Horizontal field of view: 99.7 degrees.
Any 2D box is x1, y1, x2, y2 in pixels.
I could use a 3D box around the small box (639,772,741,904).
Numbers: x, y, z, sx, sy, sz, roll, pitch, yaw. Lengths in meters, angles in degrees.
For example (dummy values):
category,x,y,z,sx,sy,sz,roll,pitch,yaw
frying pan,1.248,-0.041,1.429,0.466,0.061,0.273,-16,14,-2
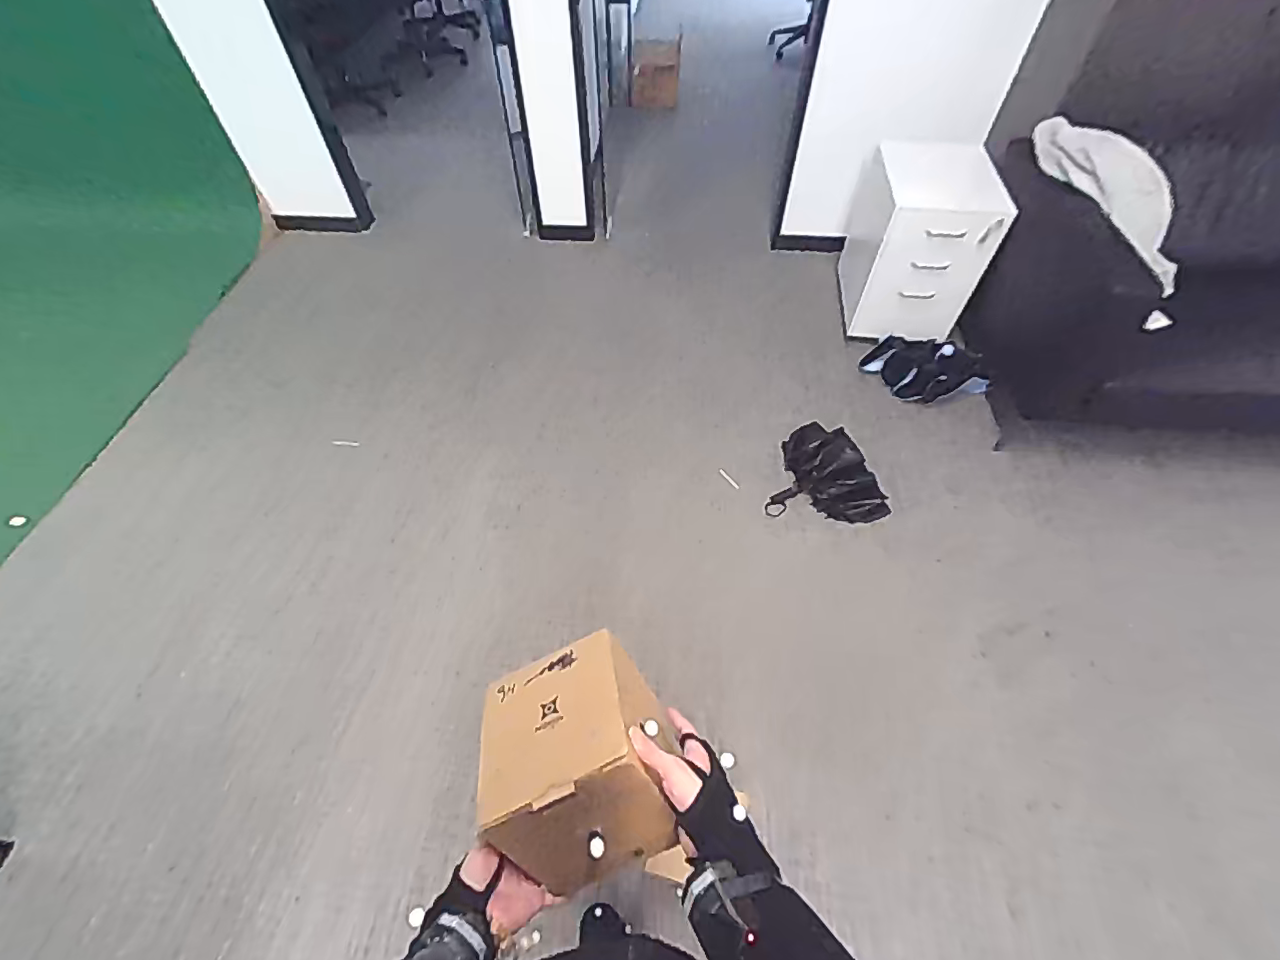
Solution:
category,x,y,z,sx,sy,sz,roll,pitch,yaw
small box,0.098,0.723,1.094,0.168,0.176,0.179,14,55,10
